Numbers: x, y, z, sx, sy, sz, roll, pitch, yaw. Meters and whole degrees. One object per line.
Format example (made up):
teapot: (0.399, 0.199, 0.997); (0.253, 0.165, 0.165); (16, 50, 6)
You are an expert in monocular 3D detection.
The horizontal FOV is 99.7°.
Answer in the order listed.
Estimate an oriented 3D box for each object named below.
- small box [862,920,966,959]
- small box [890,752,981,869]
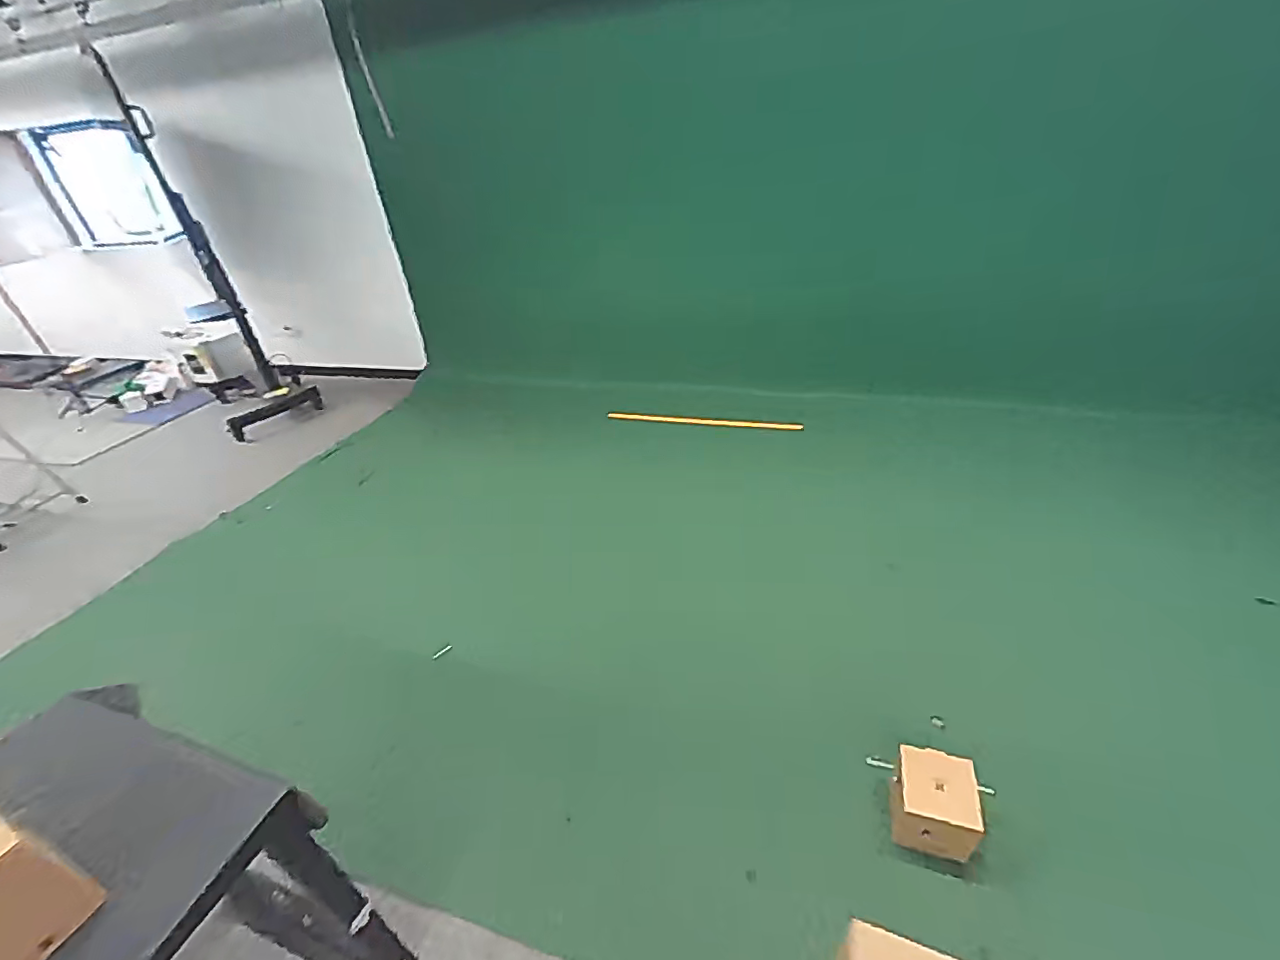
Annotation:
small box: (0.203, 0.429, 0.323); (0.168, 0.176, 0.179); (10, 36, 22)
small box: (0.728, 0.824, 1.348); (0.168, 0.176, 0.179); (6, 33, 18)
